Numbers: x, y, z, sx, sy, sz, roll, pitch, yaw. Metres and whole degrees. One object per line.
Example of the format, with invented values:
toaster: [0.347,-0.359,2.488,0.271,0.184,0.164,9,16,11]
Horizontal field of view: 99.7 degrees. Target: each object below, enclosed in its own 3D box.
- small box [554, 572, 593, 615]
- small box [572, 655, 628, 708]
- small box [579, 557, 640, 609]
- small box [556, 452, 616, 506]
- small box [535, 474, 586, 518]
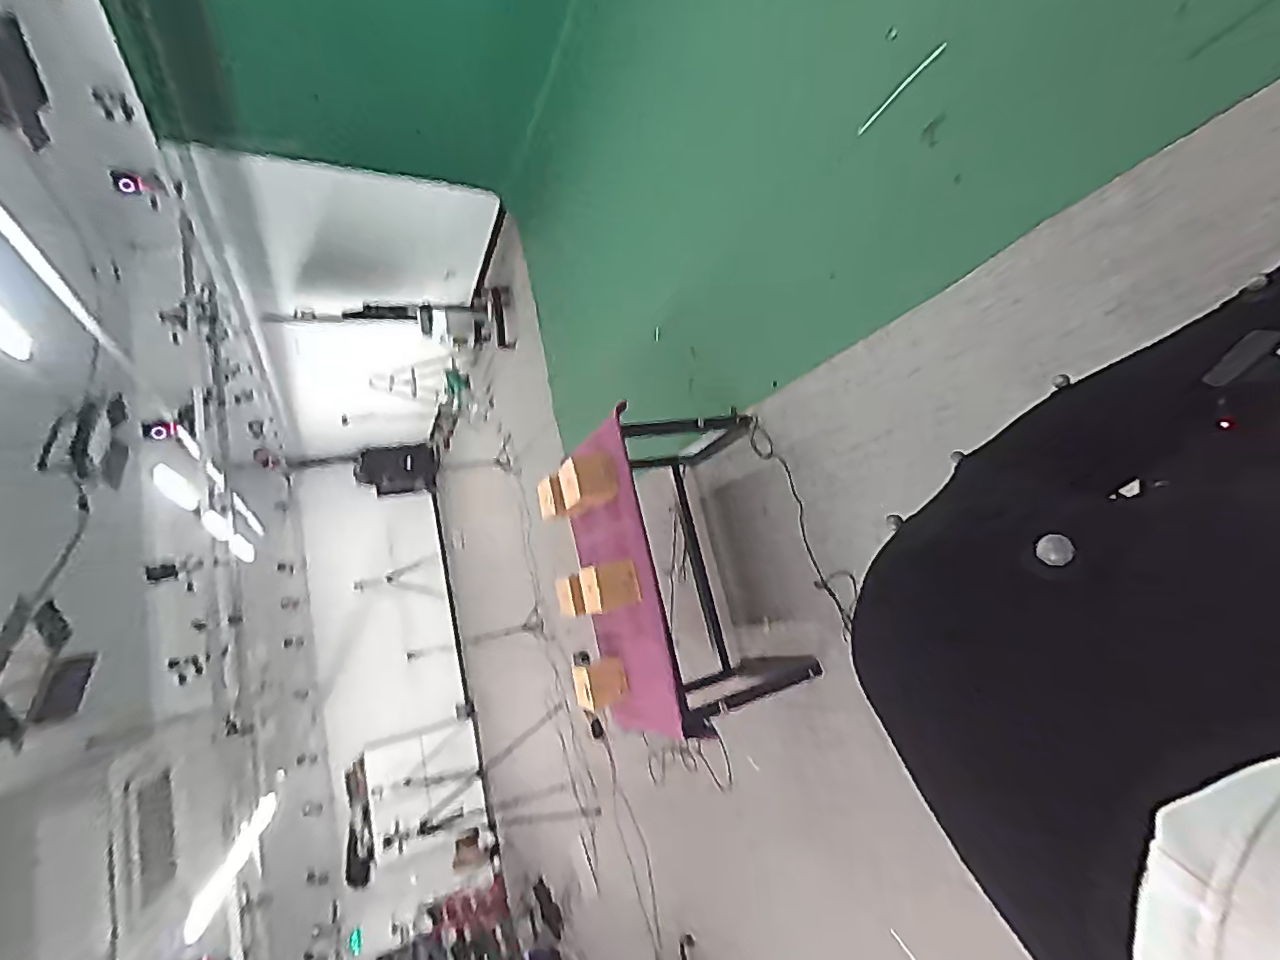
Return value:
small box: [-0.255,0.486,2.359,0.179,0.176,0.168,-25,76,58]
small box: [-0.163,0.845,2.284,0.179,0.176,0.168,-28,72,58]
small box: [-0.118,0.401,2.097,0.179,0.176,0.168,-28,73,60]
small box: [-0.217,-0.003,2.154,0.179,0.176,0.168,-32,71,58]
small box: [-0.354,0.066,2.418,0.179,0.176,0.168,-29,74,59]
